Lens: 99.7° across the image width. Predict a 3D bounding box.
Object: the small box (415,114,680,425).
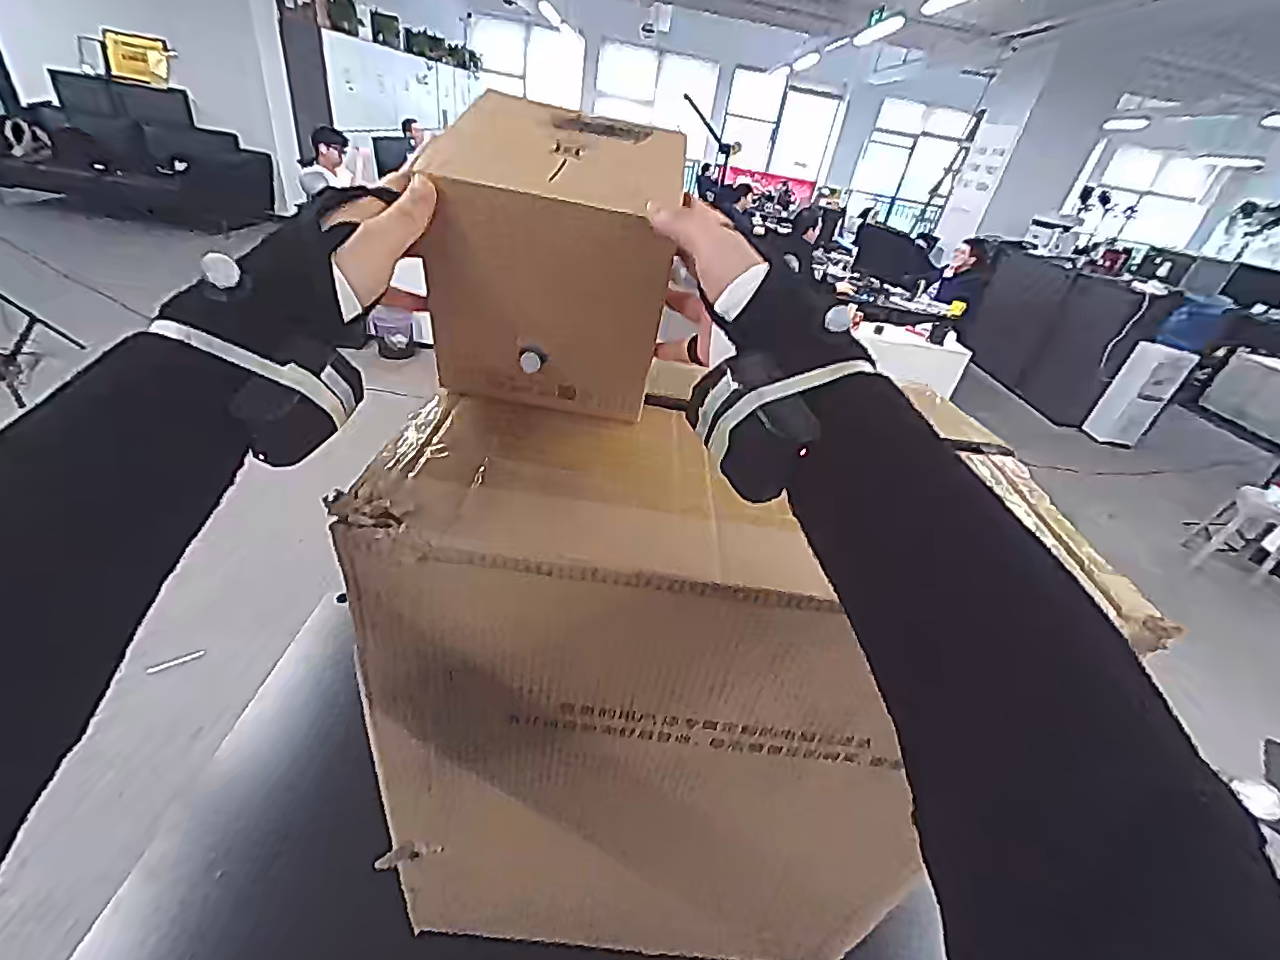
[{"bbox_3d":[-0.065,-0.172,0.448,0.168,0.176,0.179,9,45,-3],"label":"small box"}]
